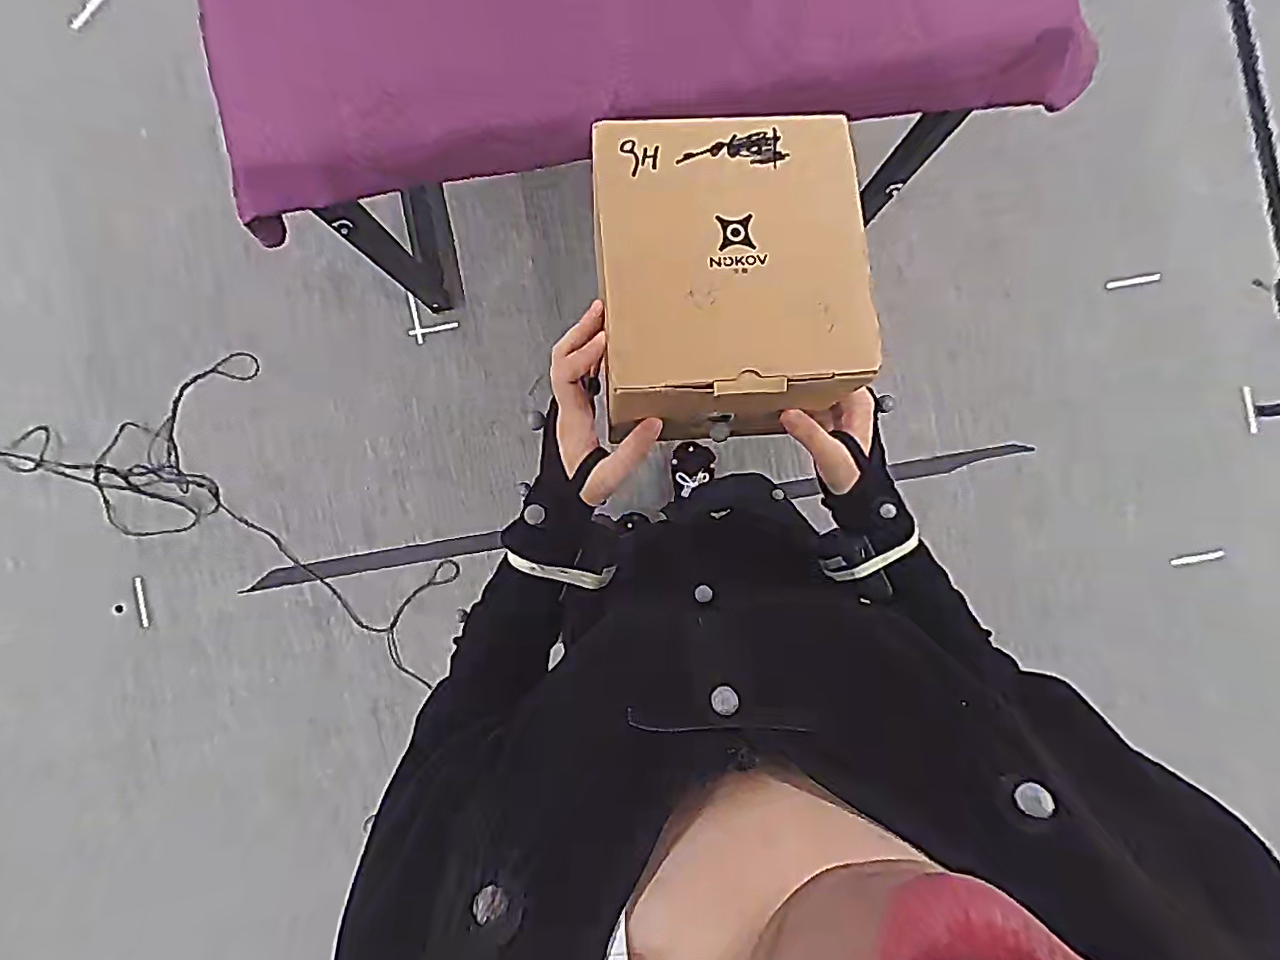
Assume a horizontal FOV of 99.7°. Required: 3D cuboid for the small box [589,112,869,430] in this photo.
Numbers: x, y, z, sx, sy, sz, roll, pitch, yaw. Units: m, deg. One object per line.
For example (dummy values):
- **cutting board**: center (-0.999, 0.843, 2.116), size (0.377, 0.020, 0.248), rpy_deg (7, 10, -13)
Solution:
- **small box**: center (0.051, -0.138, 0.415), size (0.168, 0.176, 0.179), rpy_deg (-4, 84, -4)
